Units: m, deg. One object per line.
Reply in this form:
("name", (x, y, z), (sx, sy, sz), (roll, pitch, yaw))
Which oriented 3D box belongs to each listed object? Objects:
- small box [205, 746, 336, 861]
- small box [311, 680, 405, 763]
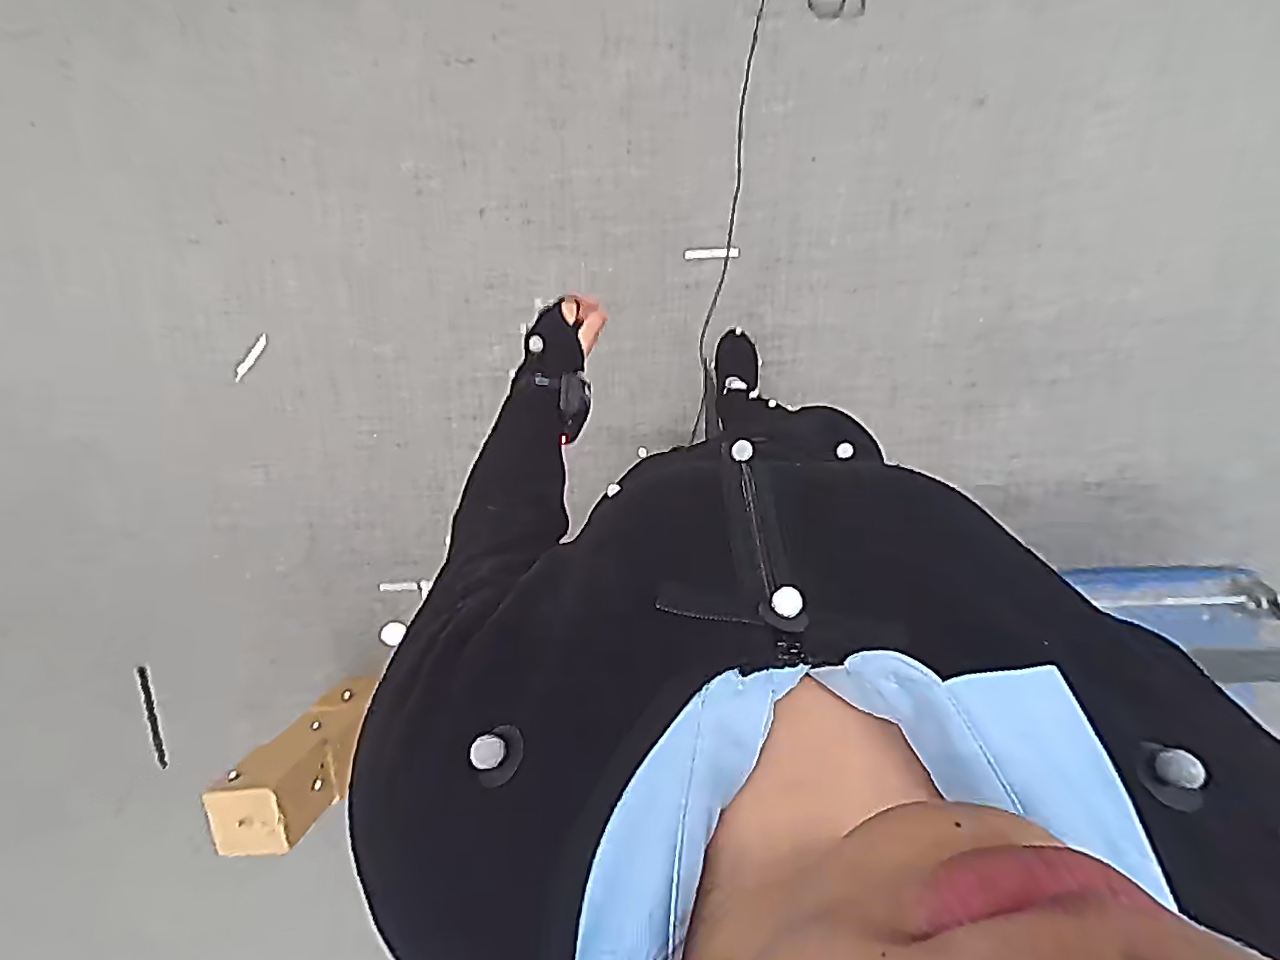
("small box", (-0.865, 0.758, 1.280), (0.179, 0.176, 0.168), (-7, 99, 5))
("small box", (-0.830, 0.711, 1.604), (0.179, 0.176, 0.168), (-3, 99, 5))
